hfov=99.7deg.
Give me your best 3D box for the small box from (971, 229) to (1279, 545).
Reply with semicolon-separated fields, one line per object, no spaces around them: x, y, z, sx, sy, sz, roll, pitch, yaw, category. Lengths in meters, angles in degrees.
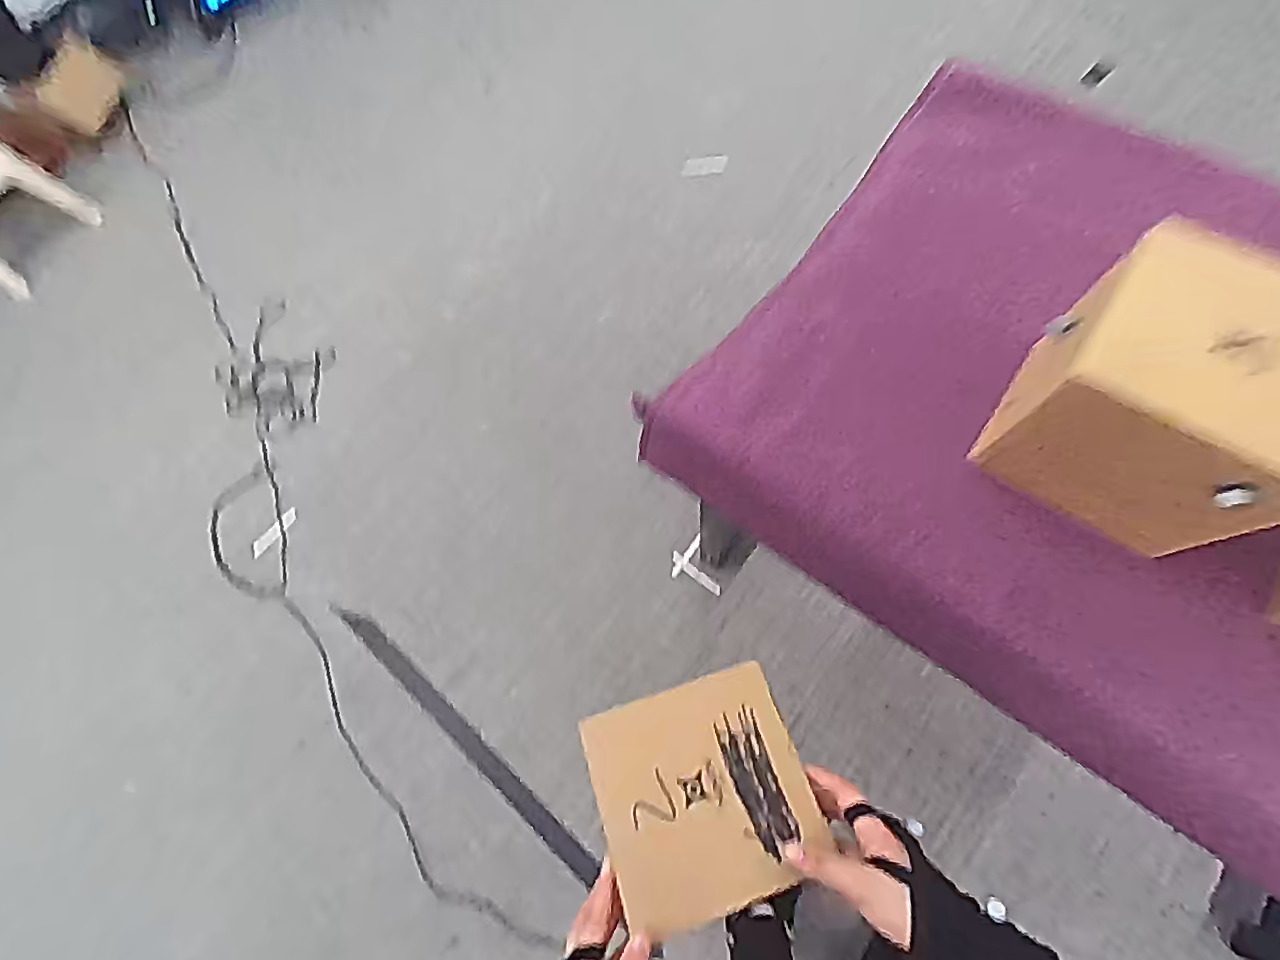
0.430;-0.066;0.462;0.179;0.176;0.168;33;76;16;small box
